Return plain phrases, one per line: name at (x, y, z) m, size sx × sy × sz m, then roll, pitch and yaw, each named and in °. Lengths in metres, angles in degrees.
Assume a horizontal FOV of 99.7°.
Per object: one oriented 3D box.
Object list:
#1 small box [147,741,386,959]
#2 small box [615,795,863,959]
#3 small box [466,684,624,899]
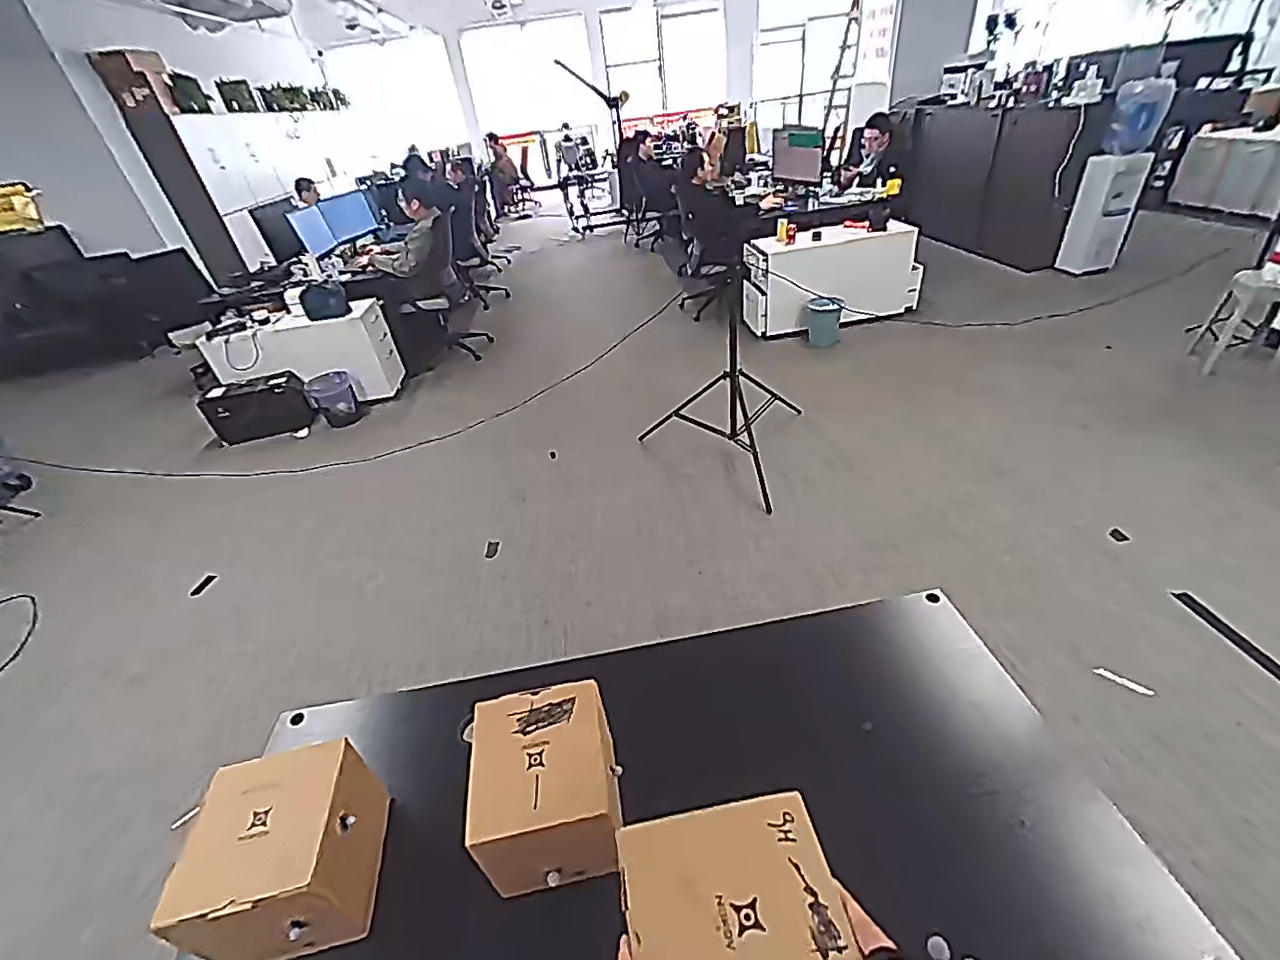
small box at (-0.440, 0.471, 0.679) m, size 0.168 × 0.176 × 0.179 m, roll -11°, pitch 35°, yaw -7°
small box at (0.080, 0.413, 0.473) m, size 0.179 × 0.176 × 0.168 m, roll -8°, pitch 37°, yaw -6°
small box at (-0.116, 0.404, 0.709) m, size 0.168 × 0.176 × 0.179 m, roll -11°, pitch 36°, yaw -4°
